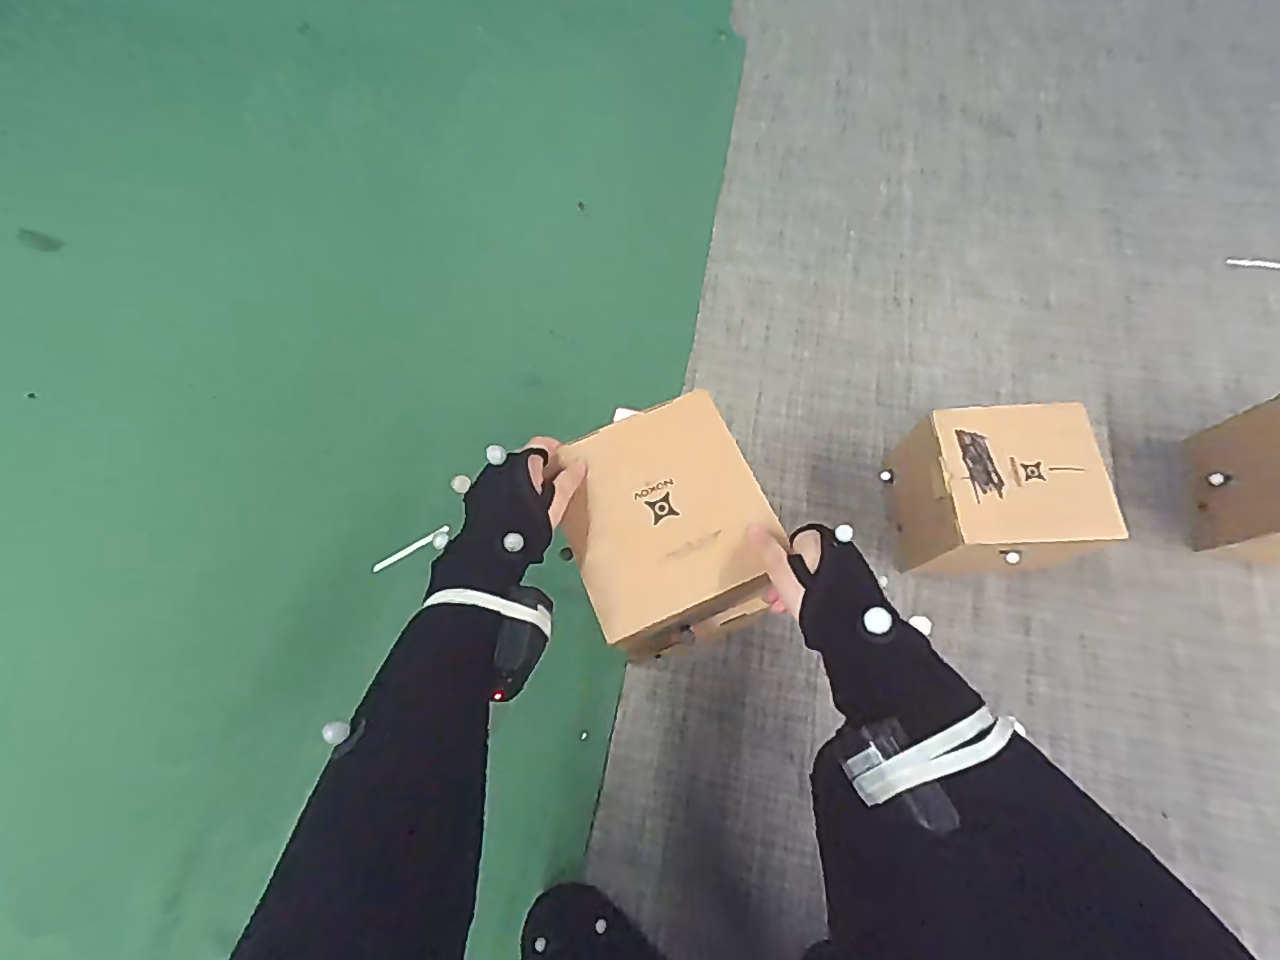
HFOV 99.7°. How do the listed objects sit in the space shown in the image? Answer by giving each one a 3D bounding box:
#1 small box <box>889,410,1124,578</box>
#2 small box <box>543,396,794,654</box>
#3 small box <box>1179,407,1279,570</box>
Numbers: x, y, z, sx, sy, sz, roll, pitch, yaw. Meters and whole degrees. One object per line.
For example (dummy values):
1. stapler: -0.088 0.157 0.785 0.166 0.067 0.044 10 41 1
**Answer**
1. small box: 0.435 0.026 0.683 0.179 0.176 0.168 -3 69 2
2. small box: 0.025 0.054 0.528 0.168 0.176 0.179 -23 69 -2
3. small box: 0.832 0.012 0.659 0.179 0.176 0.168 9 69 8
